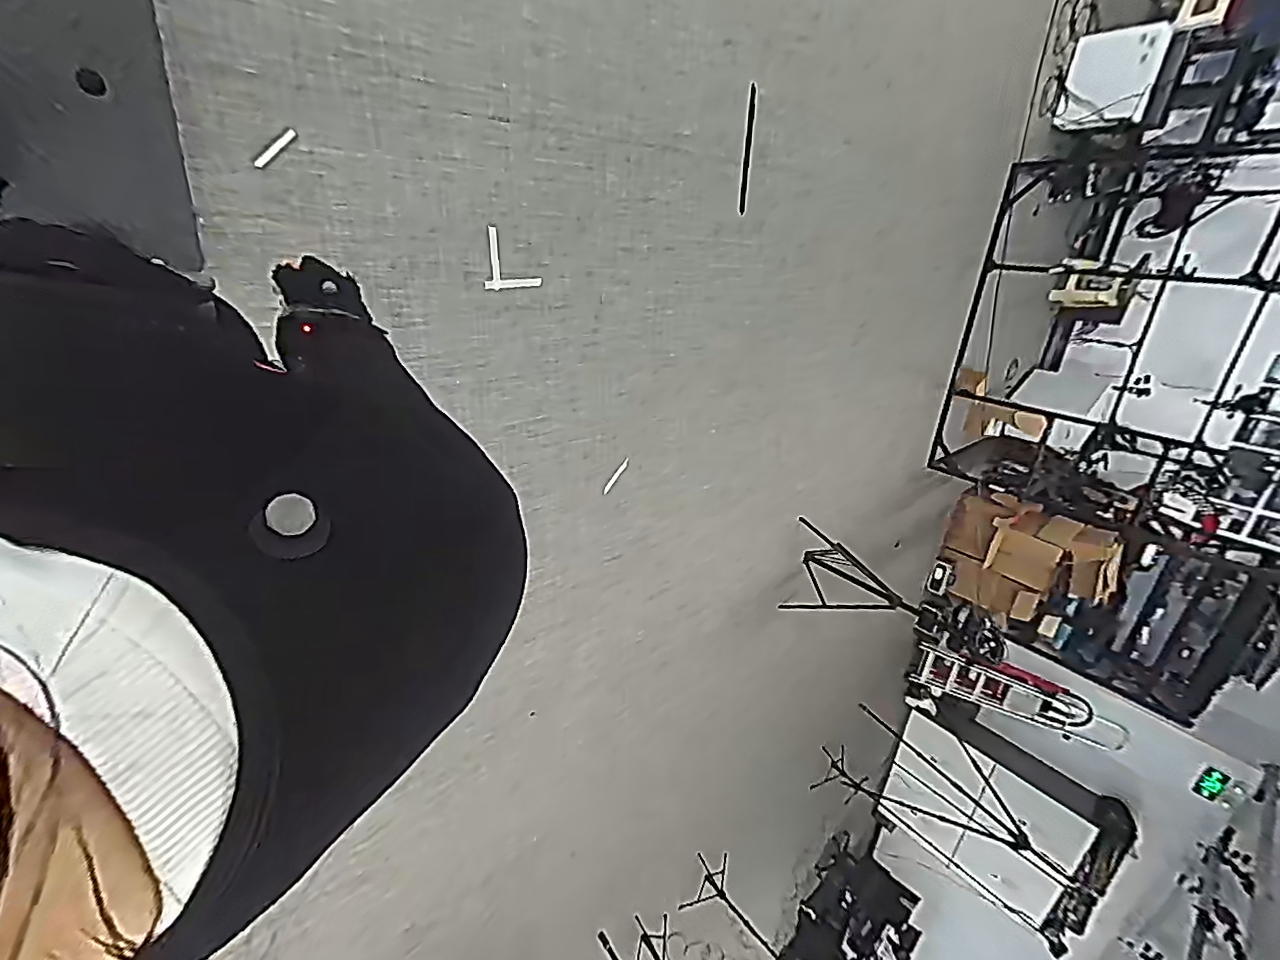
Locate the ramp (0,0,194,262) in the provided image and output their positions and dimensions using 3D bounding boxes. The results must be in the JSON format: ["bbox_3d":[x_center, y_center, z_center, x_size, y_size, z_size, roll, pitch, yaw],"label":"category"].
[{"bbox_3d":[-0.969,-0.808,0.682,0.509,0.206,0.991,-16,122,-39],"label":"ramp"}]
